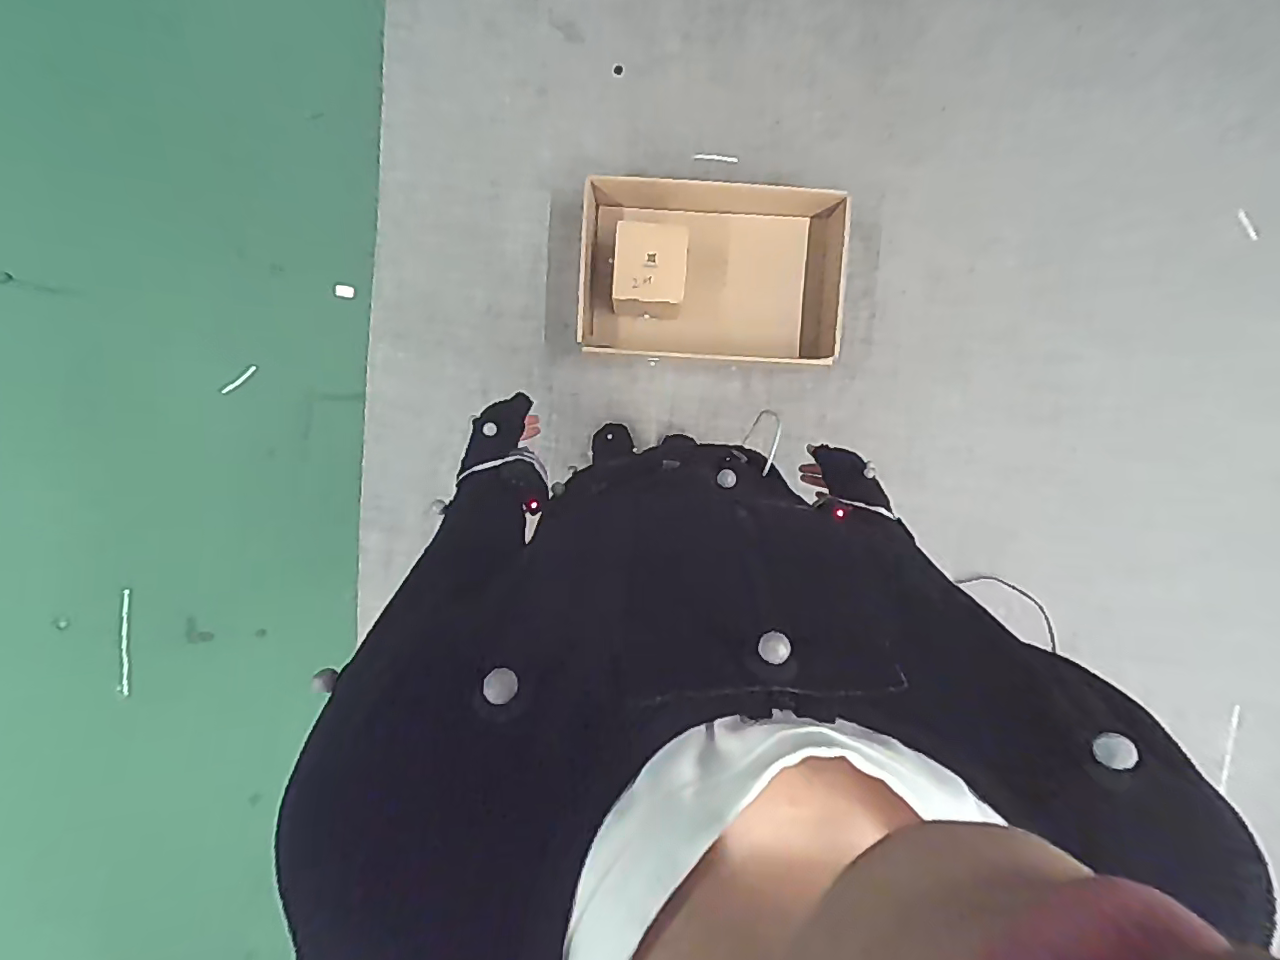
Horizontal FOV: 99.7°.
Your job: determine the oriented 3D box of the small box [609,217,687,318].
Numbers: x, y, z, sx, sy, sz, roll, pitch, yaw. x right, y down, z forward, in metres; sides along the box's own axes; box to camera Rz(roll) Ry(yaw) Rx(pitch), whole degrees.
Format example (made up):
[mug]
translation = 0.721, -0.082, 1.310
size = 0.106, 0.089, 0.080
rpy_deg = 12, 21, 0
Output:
[small box]
translation = 0.017, -0.500, 1.293
size = 0.168, 0.176, 0.179
rpy_deg = 4, 95, -1
